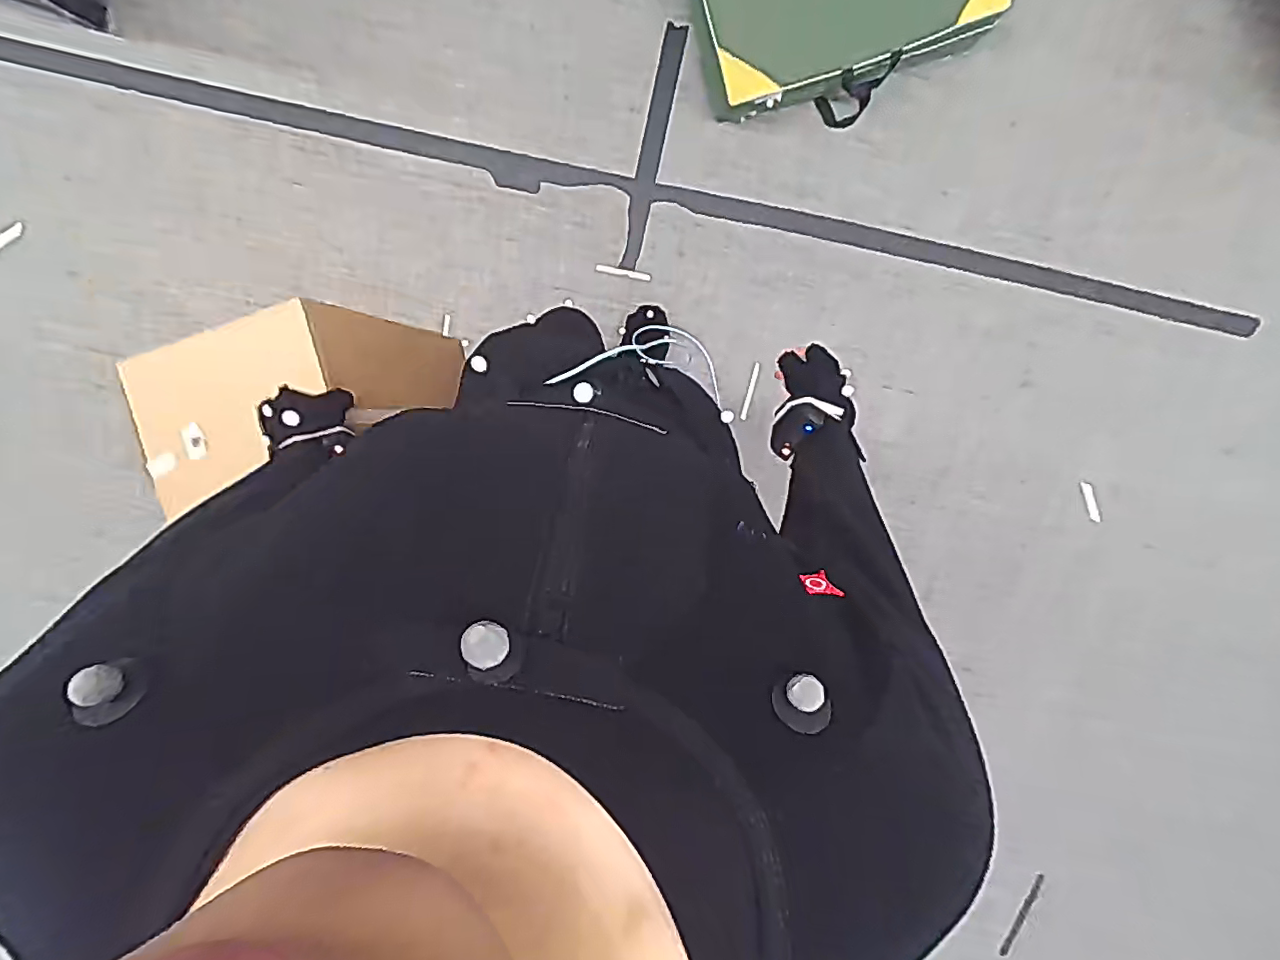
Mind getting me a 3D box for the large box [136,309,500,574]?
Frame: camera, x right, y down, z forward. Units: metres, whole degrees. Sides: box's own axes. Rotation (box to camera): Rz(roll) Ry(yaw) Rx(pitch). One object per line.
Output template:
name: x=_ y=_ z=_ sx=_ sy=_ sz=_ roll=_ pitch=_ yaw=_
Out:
large box: x=-0.504 y=-0.068 z=0.937 sx=0.320 sy=0.408 sz=0.320 roll=-14 pitch=94 yaw=12
